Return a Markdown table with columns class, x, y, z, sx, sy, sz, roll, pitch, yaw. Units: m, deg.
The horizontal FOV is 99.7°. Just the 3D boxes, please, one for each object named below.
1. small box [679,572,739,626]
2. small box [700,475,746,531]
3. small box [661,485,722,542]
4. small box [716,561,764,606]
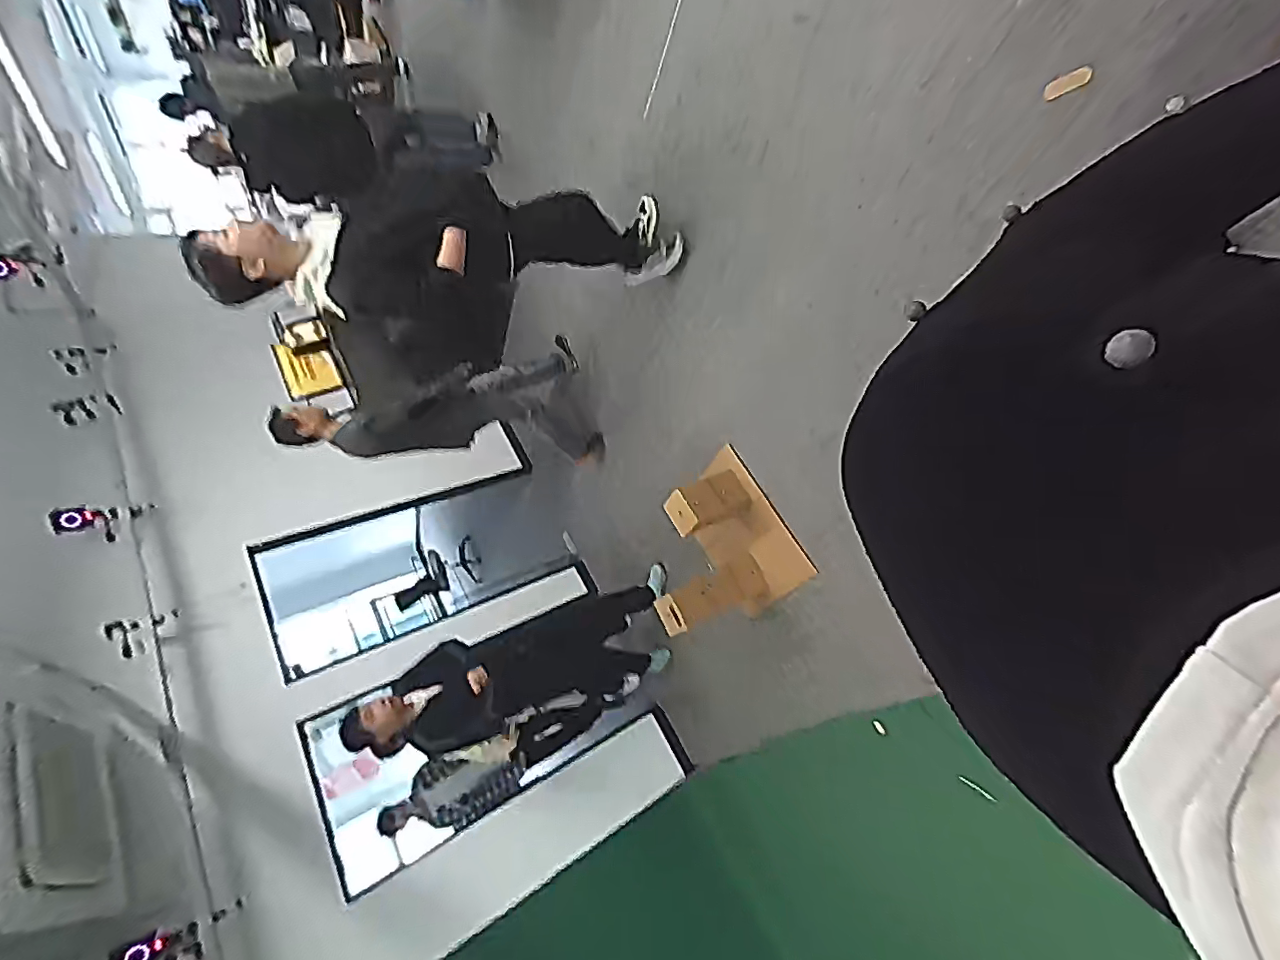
| class | x | y | z | sx | sy | sz | roll | pitch | yaw |
| --- | --- | --- | --- | --- | --- | --- | --- | --- | --- |
| small box | 0.311 | 0.530 | 2.436 | 0.179 | 0.176 | 0.168 | 63 | 148 | 13 |
| small box | 0.354 | 0.101 | 2.470 | 0.179 | 0.176 | 0.168 | 59 | 146 | 19 |
| small box | 0.227 | 0.140 | 2.379 | 0.179 | 0.176 | 0.168 | 58 | 145 | 19 |
| small box | 0.443 | 0.492 | 2.528 | 0.179 | 0.176 | 0.168 | 64 | 148 | 13 |
